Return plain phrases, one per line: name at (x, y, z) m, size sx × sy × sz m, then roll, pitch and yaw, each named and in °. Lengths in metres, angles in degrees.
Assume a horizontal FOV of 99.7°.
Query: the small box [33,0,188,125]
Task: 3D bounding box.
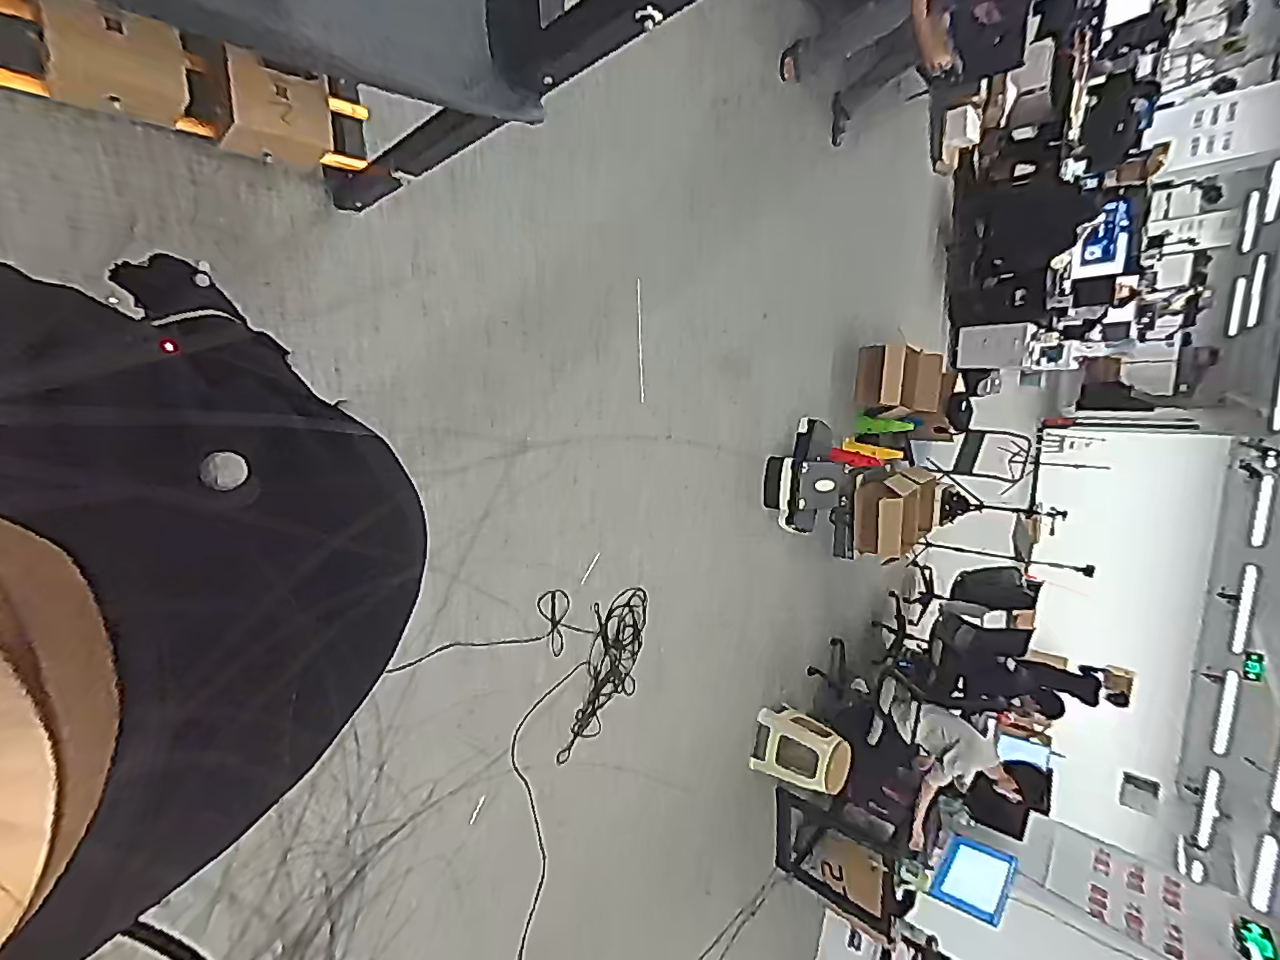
small box at (-0.880, -0.728, 0.899) m, size 0.168 × 0.176 × 0.179 m, roll -13°, pitch 106°, yaw -45°
